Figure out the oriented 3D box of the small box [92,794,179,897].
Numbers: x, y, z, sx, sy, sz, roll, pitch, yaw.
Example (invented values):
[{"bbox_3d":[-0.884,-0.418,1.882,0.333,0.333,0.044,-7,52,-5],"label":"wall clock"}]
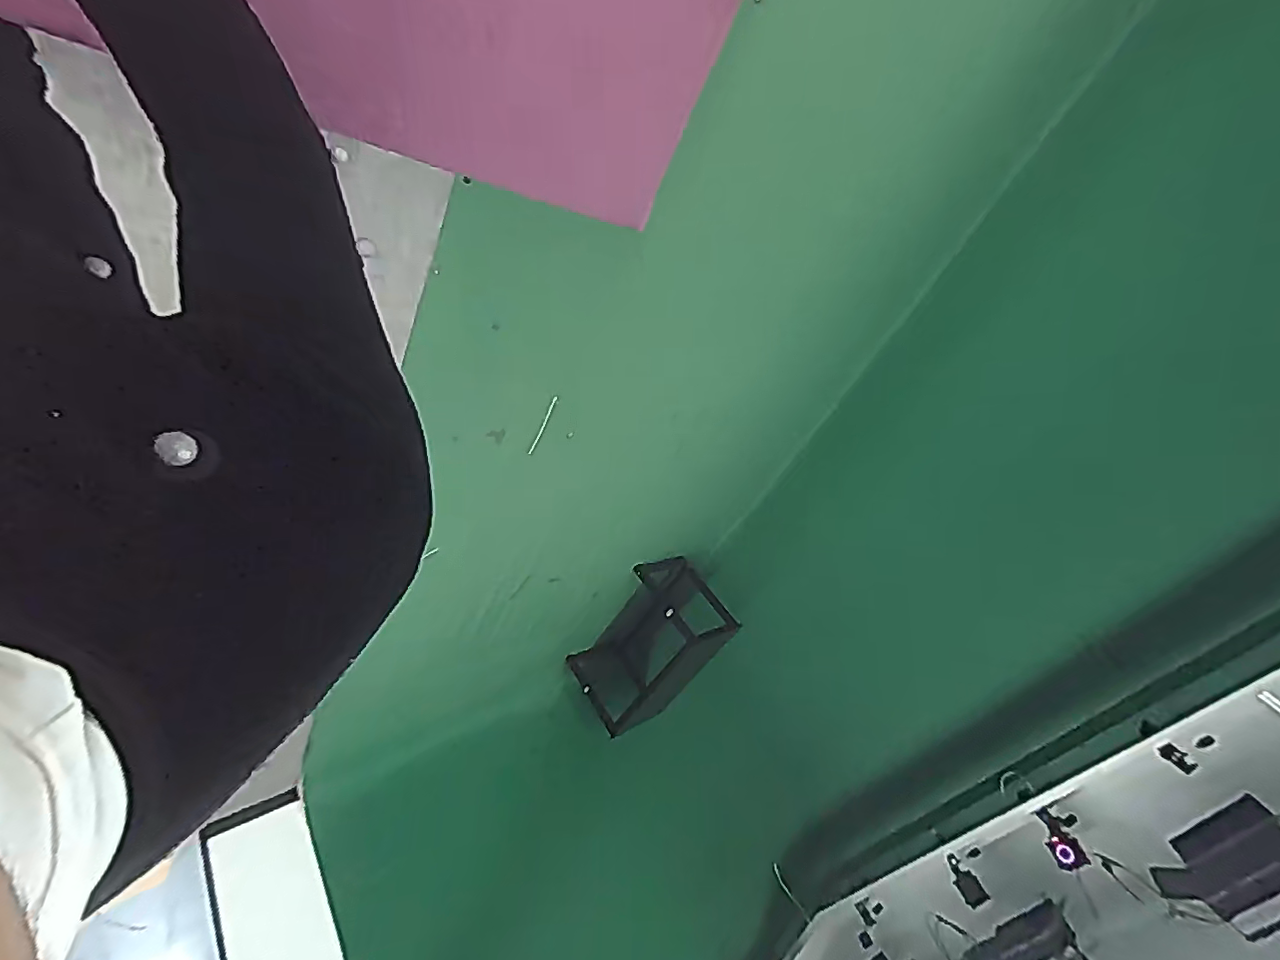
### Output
[{"bbox_3d":[-1.497,1.074,1.600,0.168,0.176,0.179,2,131,-50],"label":"small box"}]
